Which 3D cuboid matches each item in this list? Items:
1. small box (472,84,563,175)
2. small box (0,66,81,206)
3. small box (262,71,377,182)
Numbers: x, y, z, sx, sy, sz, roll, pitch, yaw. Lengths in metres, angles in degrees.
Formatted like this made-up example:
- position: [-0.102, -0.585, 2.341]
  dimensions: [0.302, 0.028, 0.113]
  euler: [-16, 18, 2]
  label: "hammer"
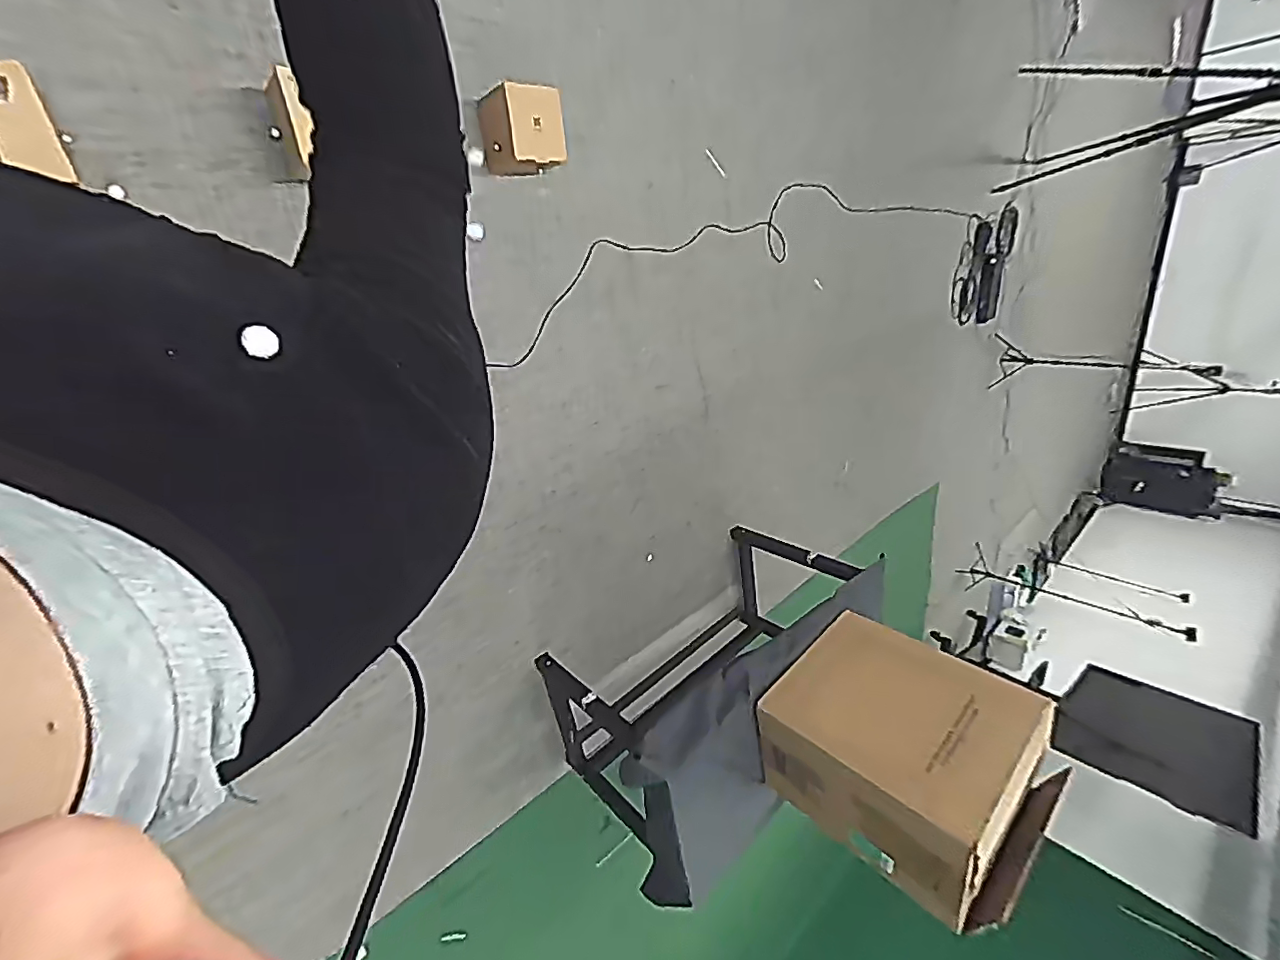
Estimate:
- position: [-0.336, -0.949, 1.481]
  dimensions: [0.168, 0.176, 0.179]
  euler: [-24, 116, -35]
  label: "small box"
- position: [-1.102, -0.574, 0.914]
  dimensions: [0.168, 0.176, 0.179]
  euler: [-25, 119, -34]
  label: "small box"
- position: [-0.712, -0.772, 1.202]
  dimensions: [0.168, 0.176, 0.179]
  euler: [-22, 117, -35]
  label: "small box"
